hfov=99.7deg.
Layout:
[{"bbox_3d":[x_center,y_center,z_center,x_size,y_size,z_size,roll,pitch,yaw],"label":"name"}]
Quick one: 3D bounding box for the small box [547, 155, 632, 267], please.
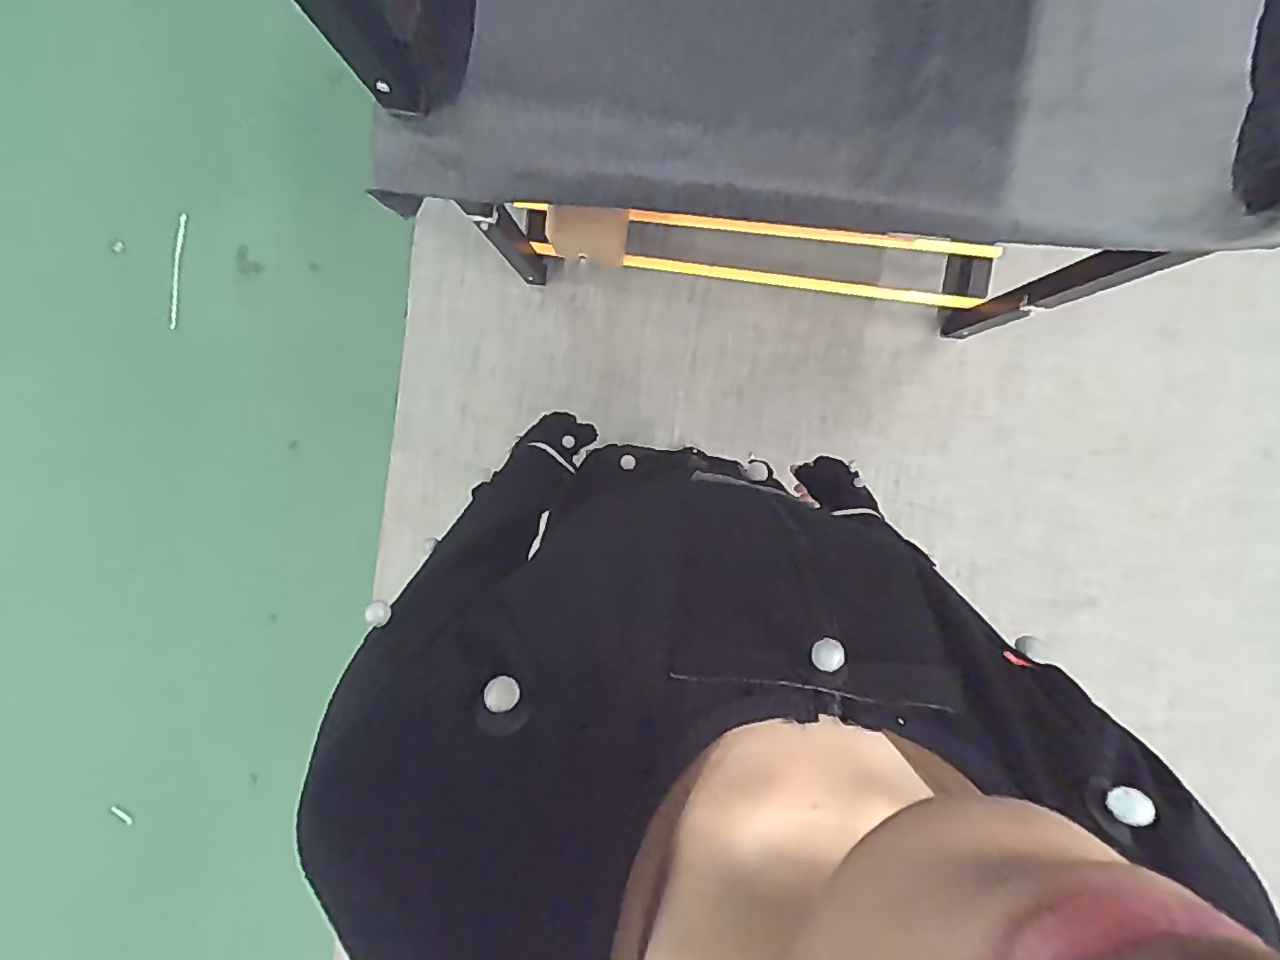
[{"bbox_3d":[-0.111,-0.620,1.260,0.168,0.176,0.179,7,96,2],"label":"small box"}]
